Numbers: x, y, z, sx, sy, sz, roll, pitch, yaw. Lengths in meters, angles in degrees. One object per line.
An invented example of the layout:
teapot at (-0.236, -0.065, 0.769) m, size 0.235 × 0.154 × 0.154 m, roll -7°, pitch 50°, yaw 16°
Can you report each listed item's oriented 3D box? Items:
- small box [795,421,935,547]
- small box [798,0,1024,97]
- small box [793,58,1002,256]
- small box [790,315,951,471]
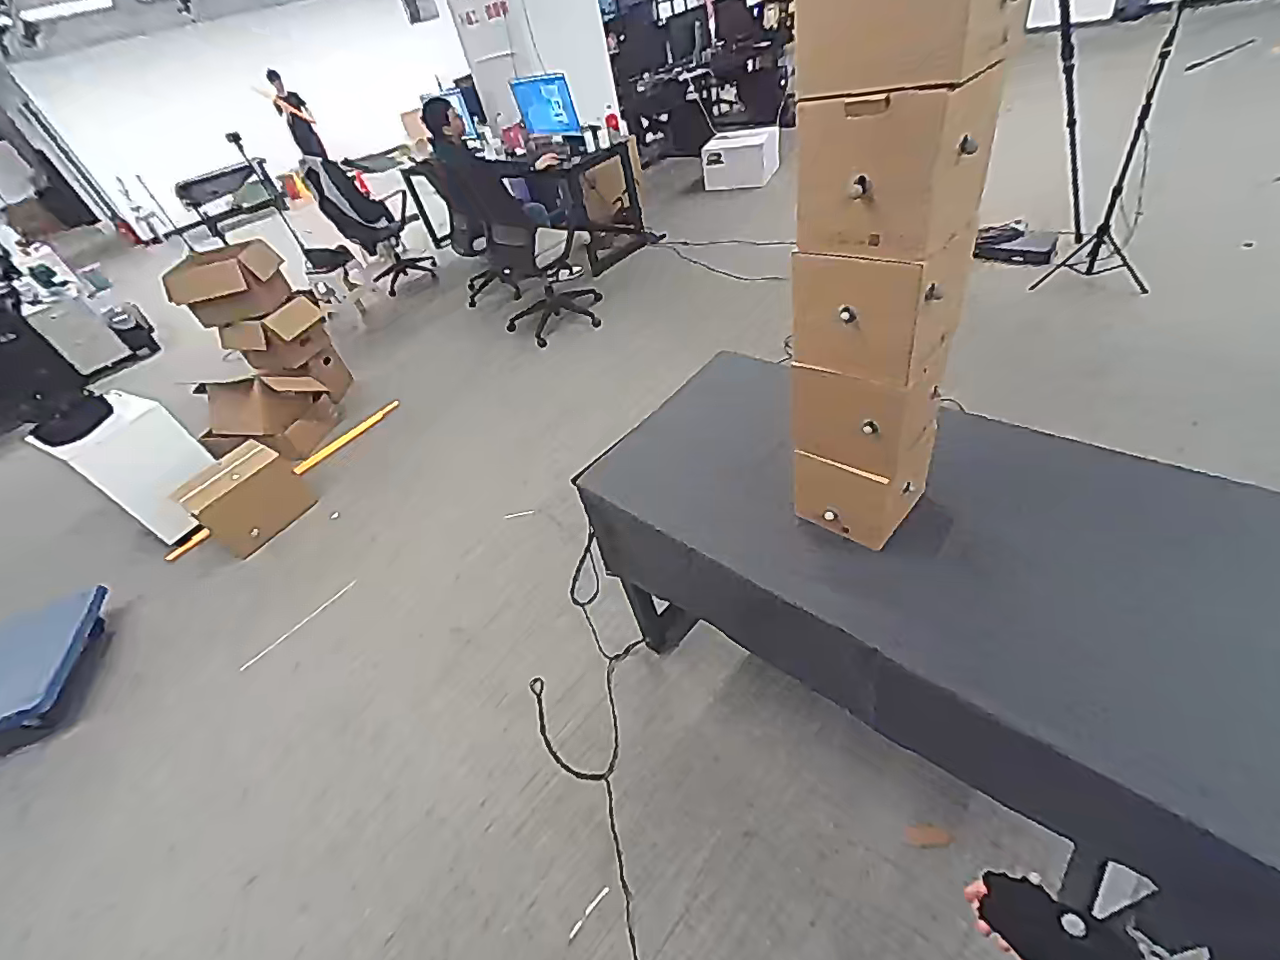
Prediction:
small box at (0.392, -0.016, 0.963) m, size 0.168 × 0.176 × 0.179 m, roll 27°, pitch 57°, yaw 38°
small box at (0.273, -0.509, 0.548) m, size 0.179 × 0.176 × 0.168 m, roll 26°, pitch 54°, yaw 38°
small box at (0.306, -0.389, 0.658) m, size 0.168 × 0.176 × 0.179 m, roll 25°, pitch 55°, yaw 37°
small box at (0.359, -0.138, 0.860) m, size 0.179 × 0.176 × 0.168 m, roll 24°, pitch 54°, yaw 37°
